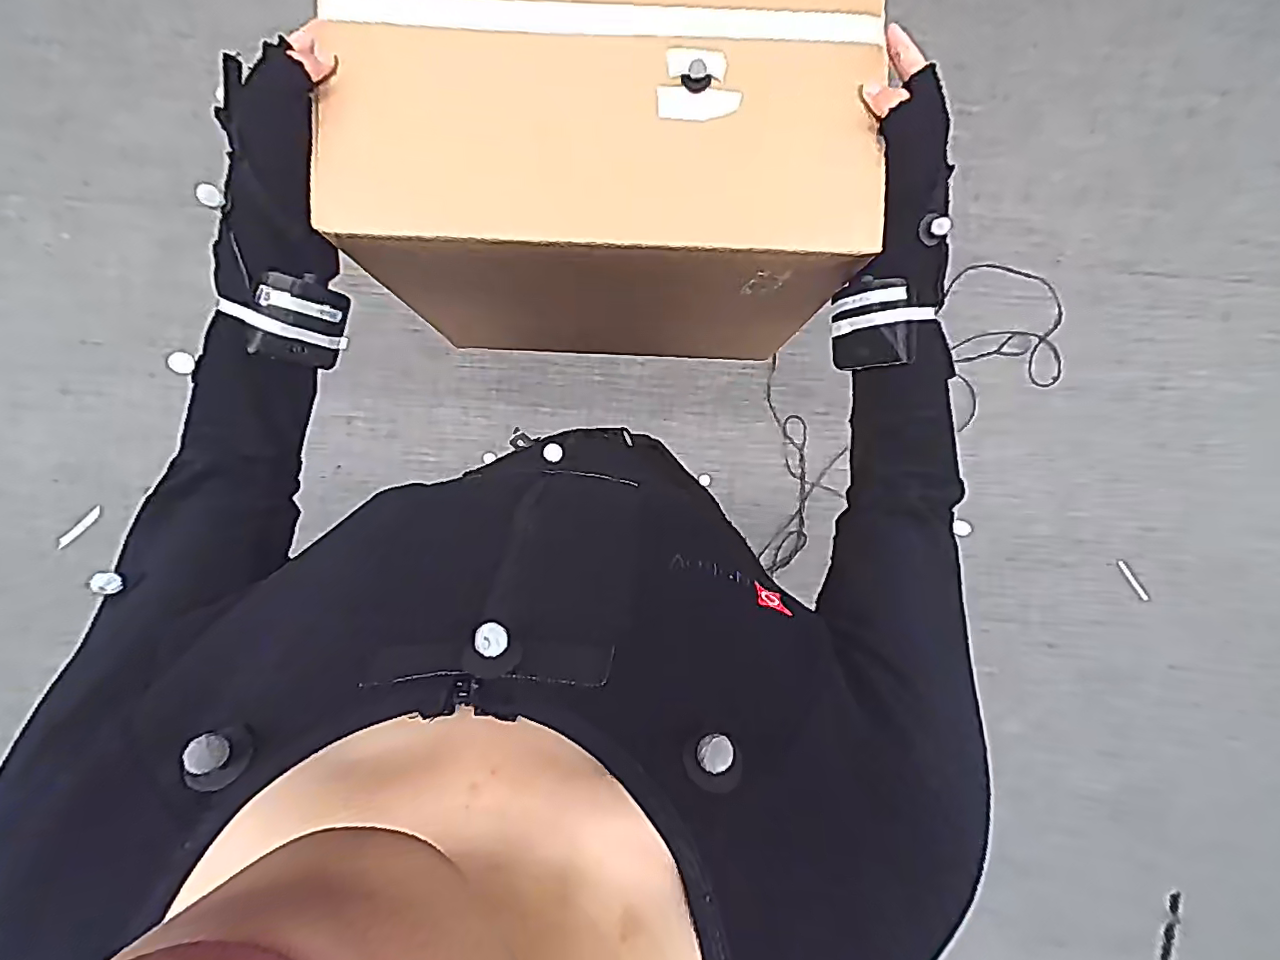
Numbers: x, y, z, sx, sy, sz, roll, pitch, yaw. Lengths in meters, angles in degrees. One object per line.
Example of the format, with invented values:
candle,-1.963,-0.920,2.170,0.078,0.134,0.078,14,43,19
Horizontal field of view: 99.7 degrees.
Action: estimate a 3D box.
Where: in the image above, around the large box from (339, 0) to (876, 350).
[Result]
large box,-0.025,-0.327,0.553,0.408,0.320,0.320,2,89,-1
